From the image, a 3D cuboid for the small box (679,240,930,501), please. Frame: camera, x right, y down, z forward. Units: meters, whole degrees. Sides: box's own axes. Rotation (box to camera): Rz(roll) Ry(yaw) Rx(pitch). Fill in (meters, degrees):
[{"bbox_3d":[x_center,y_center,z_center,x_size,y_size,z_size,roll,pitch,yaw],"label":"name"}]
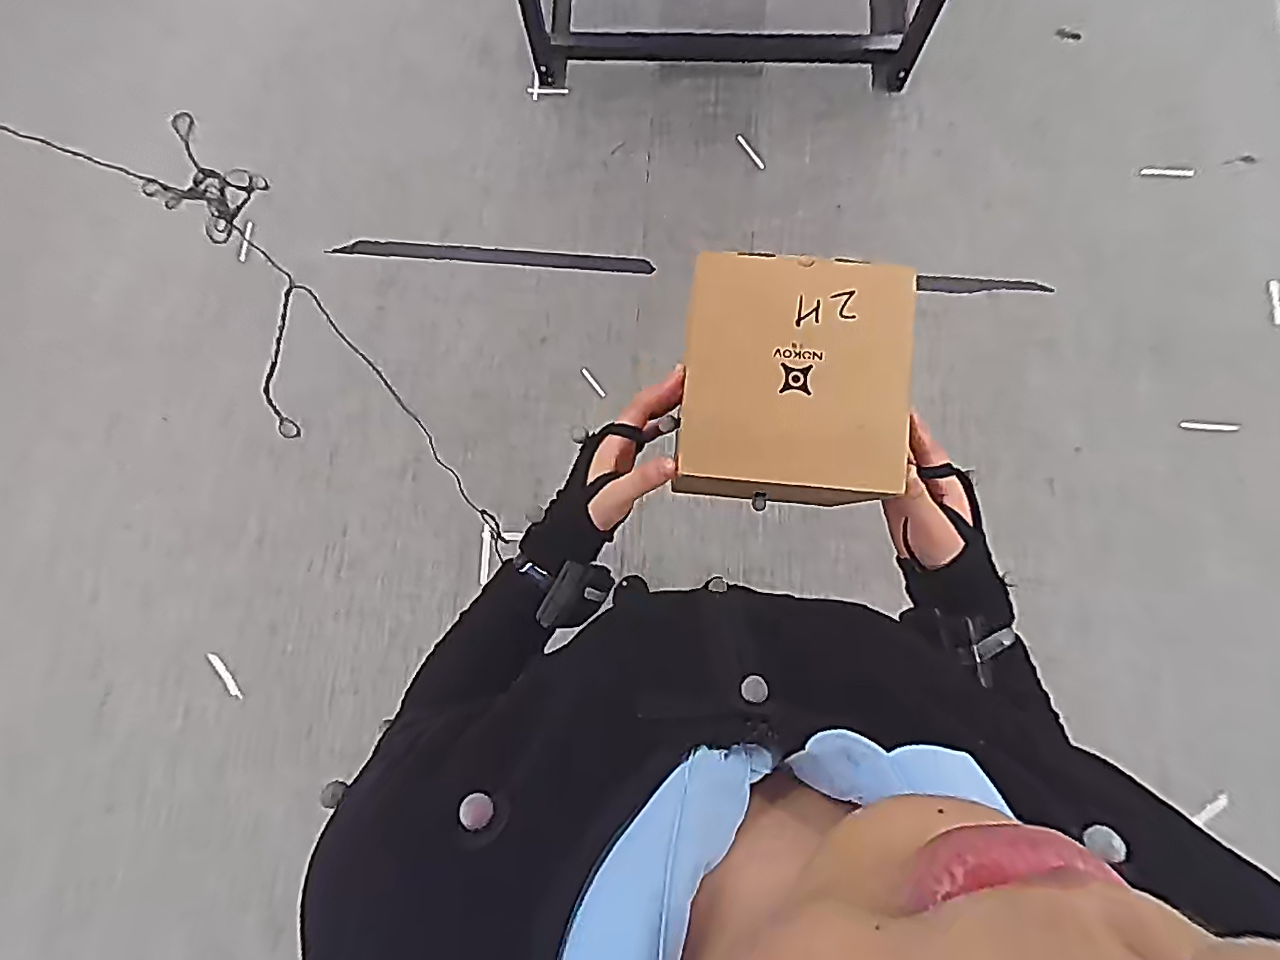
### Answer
[{"bbox_3d":[0.124,-0.077,0.469,0.168,0.176,0.179,6,84,2],"label":"small box"}]
